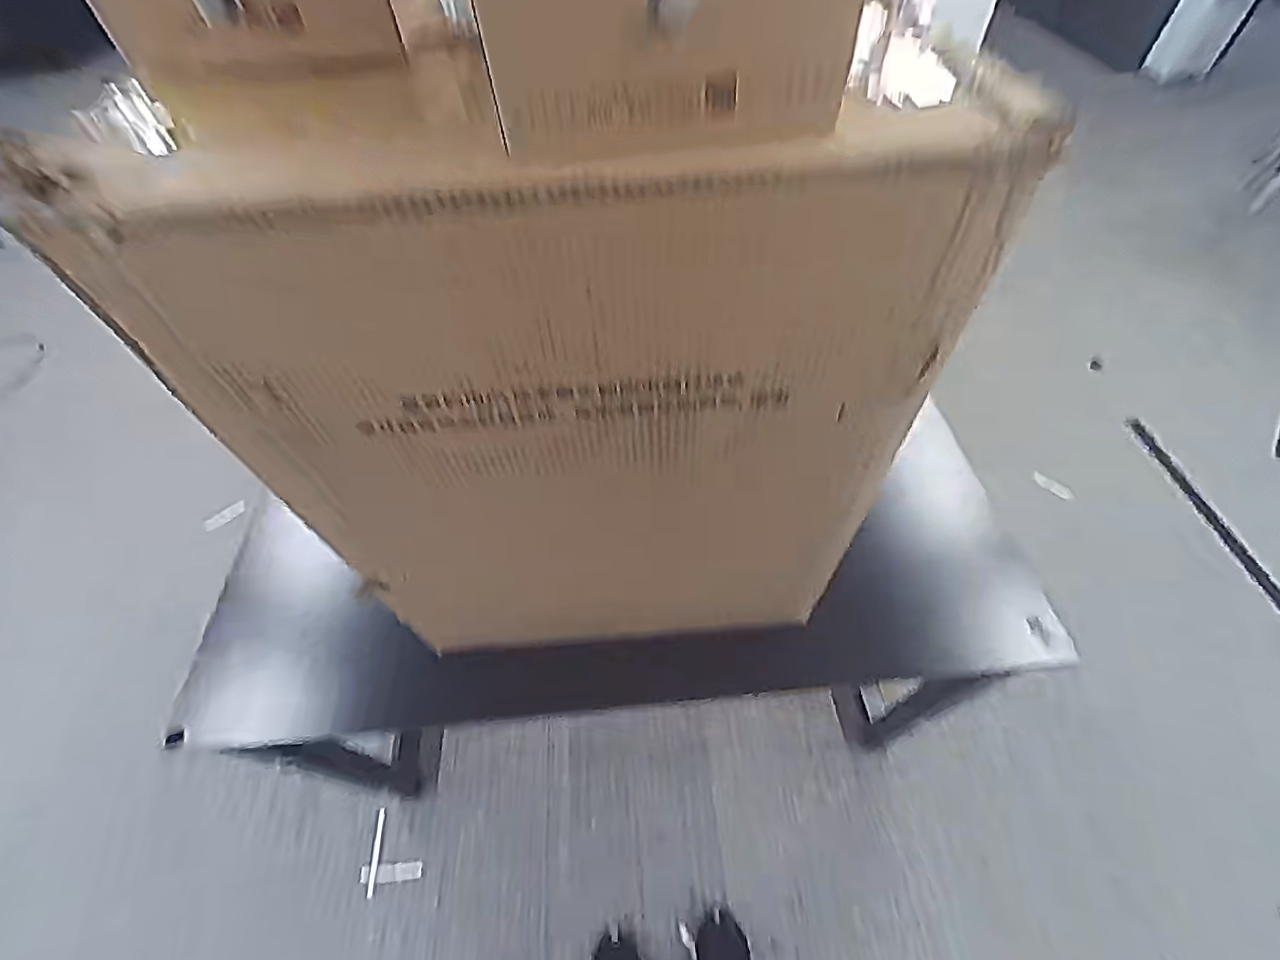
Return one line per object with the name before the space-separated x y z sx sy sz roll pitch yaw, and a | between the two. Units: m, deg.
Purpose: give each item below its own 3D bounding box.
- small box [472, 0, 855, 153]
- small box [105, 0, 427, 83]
small box | 0.002 -0.281 0.251 0.168 0.176 0.179 -7 54 -1
small box | -0.240 -0.367 0.323 0.168 0.176 0.179 -8 55 -3
